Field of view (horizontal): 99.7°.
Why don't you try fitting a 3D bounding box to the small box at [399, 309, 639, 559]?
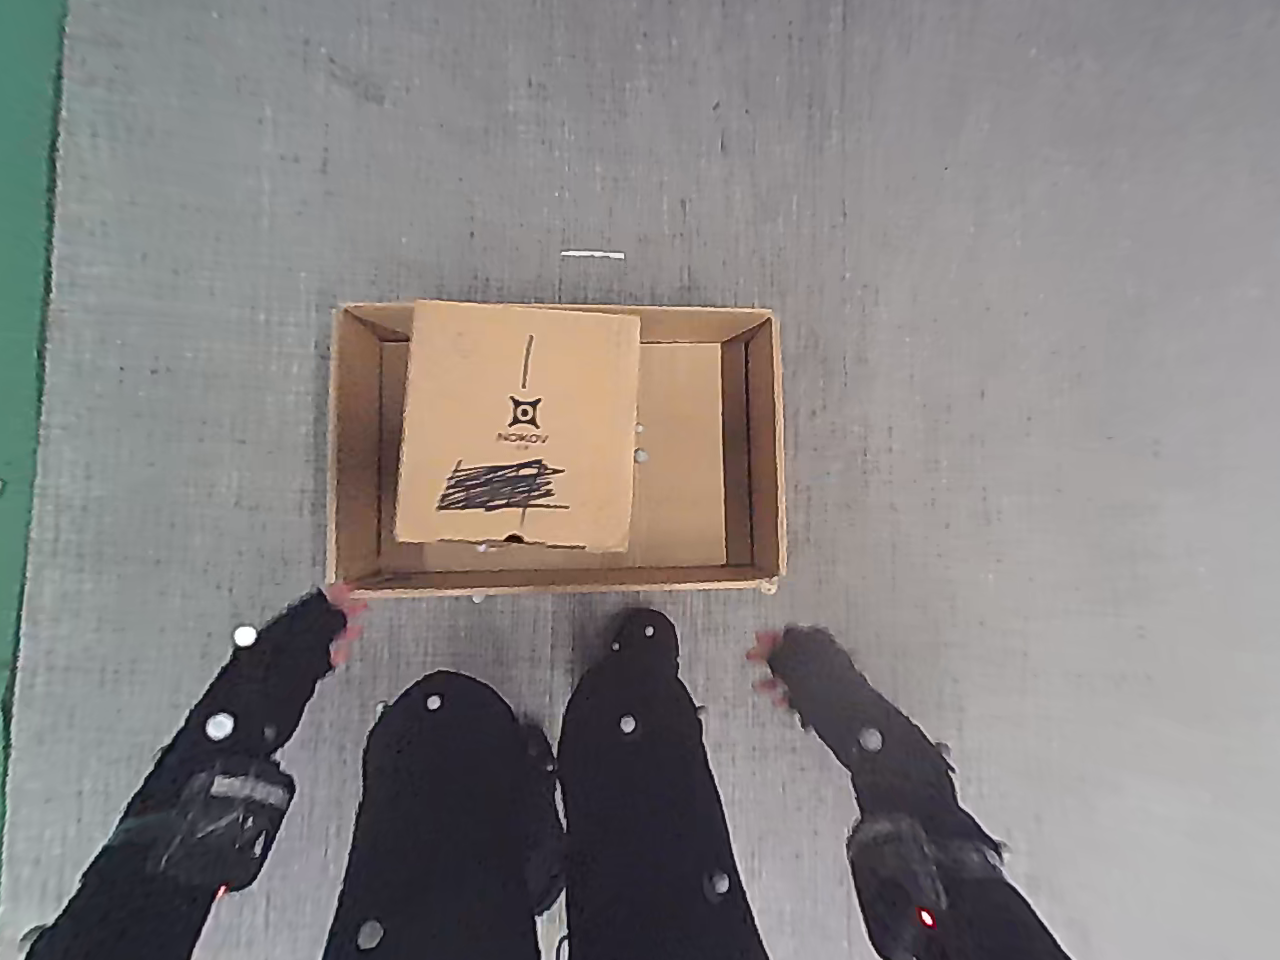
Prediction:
[{"bbox_3d":[-0.091,-0.028,0.473,0.168,0.176,0.179,3,85,-4],"label":"small box"}]
